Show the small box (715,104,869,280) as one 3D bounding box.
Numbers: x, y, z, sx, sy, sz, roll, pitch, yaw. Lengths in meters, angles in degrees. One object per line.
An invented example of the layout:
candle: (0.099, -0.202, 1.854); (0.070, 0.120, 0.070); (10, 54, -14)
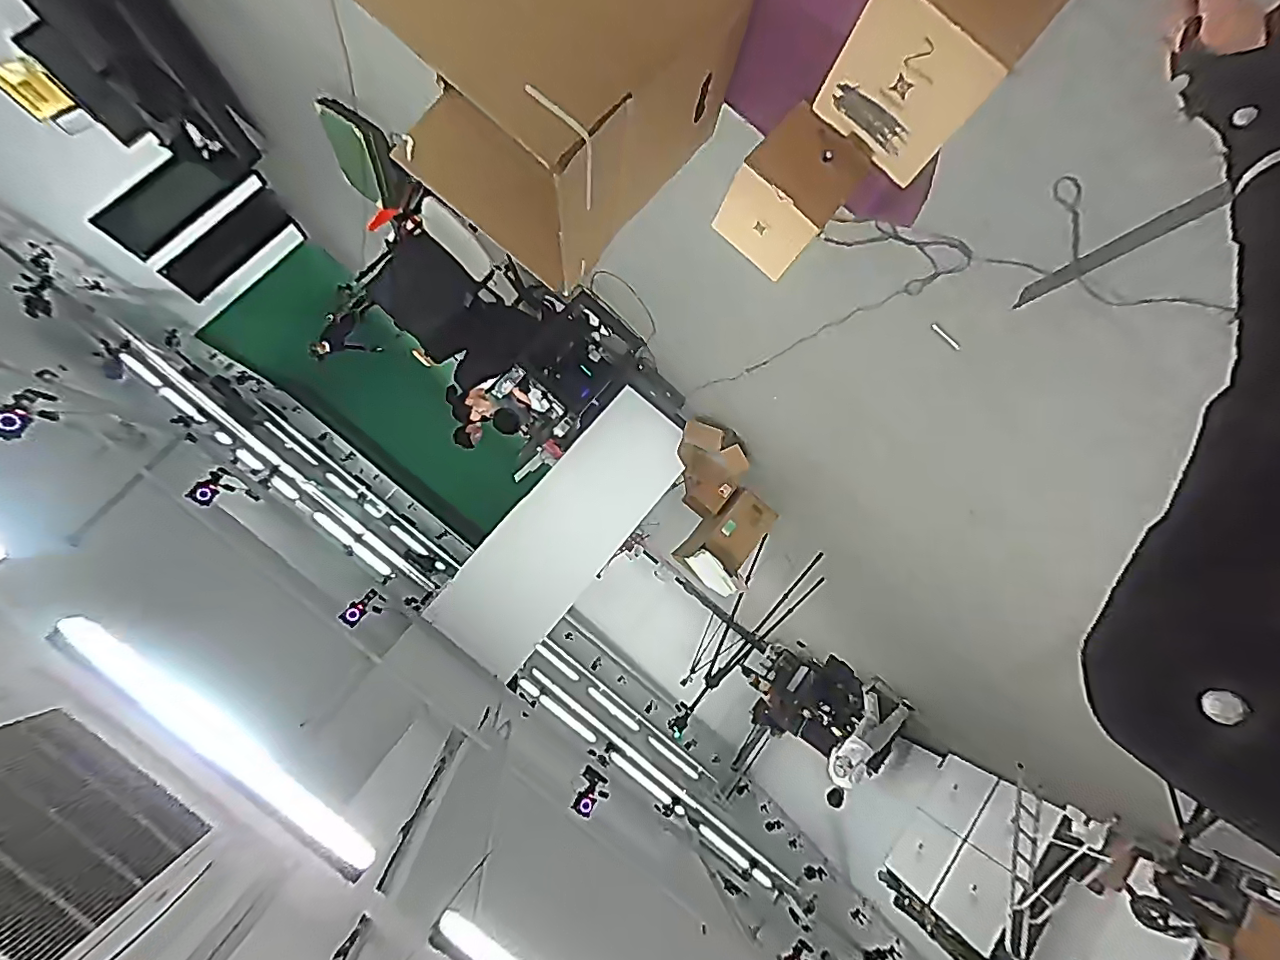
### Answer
small box: (0.266, -0.502, 0.957); (0.168, 0.176, 0.179); (41, 167, -2)
